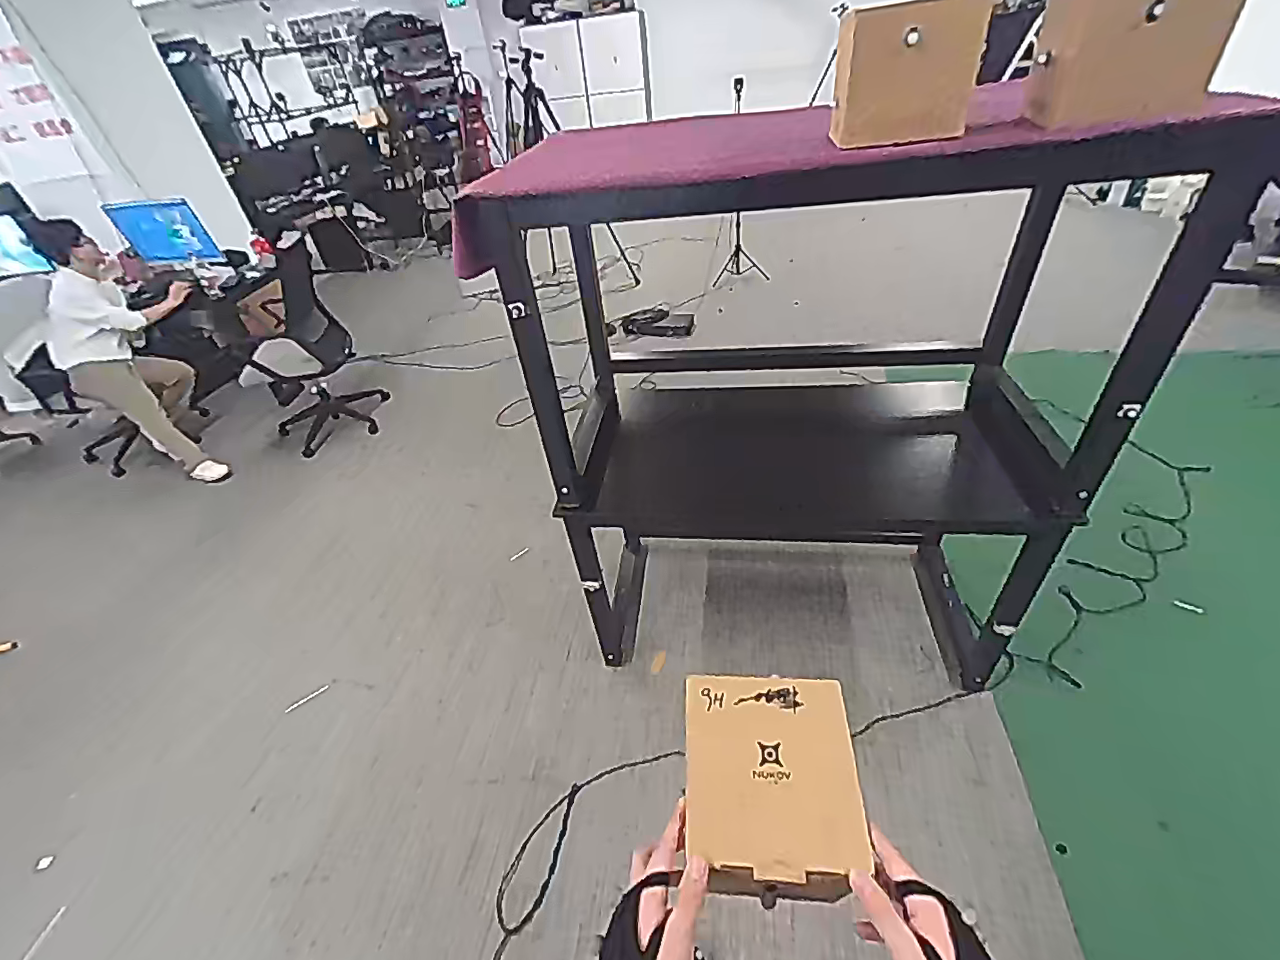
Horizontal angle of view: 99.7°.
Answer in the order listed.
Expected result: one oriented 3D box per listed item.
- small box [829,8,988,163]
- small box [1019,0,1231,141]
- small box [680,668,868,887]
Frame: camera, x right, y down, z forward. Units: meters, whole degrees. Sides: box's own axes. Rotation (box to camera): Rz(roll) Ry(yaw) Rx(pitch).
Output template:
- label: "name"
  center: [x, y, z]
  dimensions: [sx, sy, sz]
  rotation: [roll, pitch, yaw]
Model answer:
- label: "small box"
  center: [0.400, -0.609, 0.842]
  dimensions: [0.179, 0.176, 0.168]
  rotation: [0, 38, 12]
- label: "small box"
  center: [0.681, -0.604, 0.781]
  dimensions: [0.179, 0.176, 0.168]
  rotation: [3, 41, 14]
- label: "small box"
  center: [0.129, 0.324, 0.588]
  dimensions: [0.168, 0.176, 0.179]
  rotation: [0, 47, 5]
